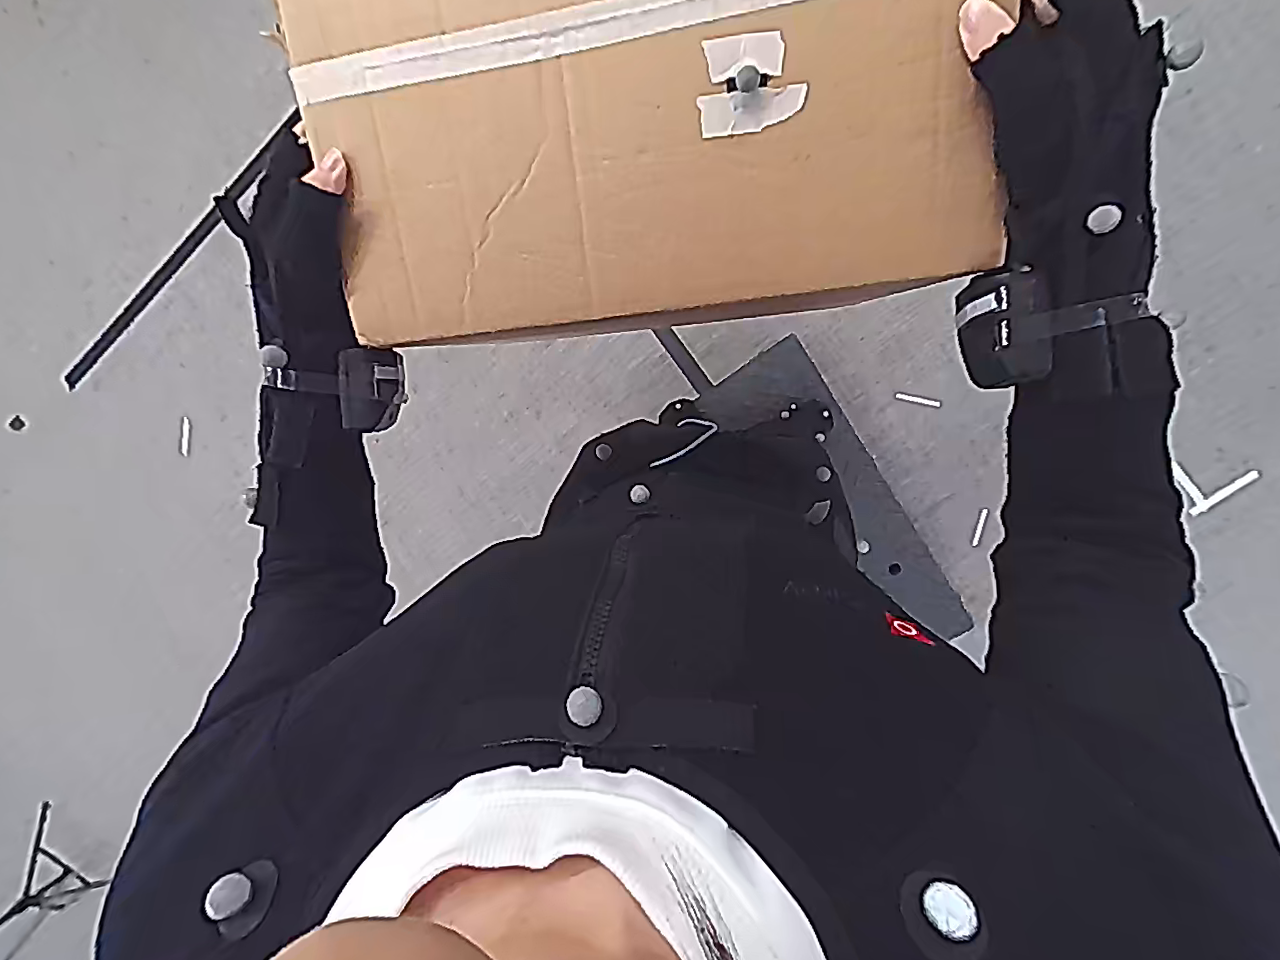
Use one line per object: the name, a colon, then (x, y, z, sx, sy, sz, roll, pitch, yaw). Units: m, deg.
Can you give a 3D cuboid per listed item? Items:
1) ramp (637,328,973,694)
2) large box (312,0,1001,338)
ramp: (0.474, 0.137, 1.489, 0.509, 0.206, 0.991, -36, 93, 12)
large box: (0.014, -0.303, 0.458, 0.408, 0.320, 0.320, -5, 105, 8)
